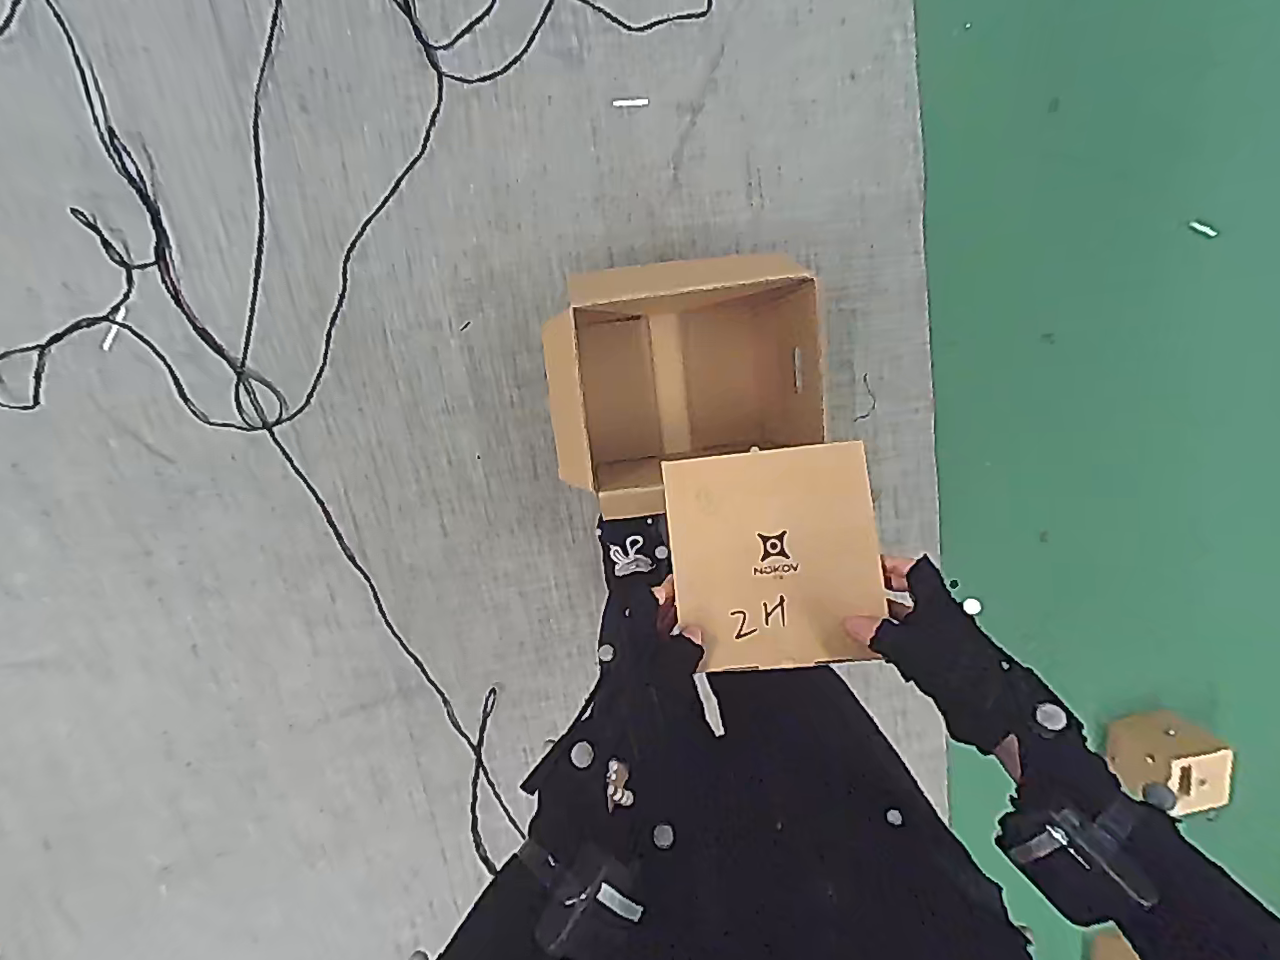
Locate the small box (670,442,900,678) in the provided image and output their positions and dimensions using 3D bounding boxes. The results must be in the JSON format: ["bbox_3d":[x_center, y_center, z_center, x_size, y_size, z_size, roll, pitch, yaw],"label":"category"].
[{"bbox_3d":[0.118,0.070,0.503,0.168,0.176,0.179,-6,84,6],"label":"small box"}]

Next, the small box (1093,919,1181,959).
[{"bbox_3d":[1.478,1.449,1.586,0.168,0.176,0.179,-8,101,-5],"label":"small box"}]
